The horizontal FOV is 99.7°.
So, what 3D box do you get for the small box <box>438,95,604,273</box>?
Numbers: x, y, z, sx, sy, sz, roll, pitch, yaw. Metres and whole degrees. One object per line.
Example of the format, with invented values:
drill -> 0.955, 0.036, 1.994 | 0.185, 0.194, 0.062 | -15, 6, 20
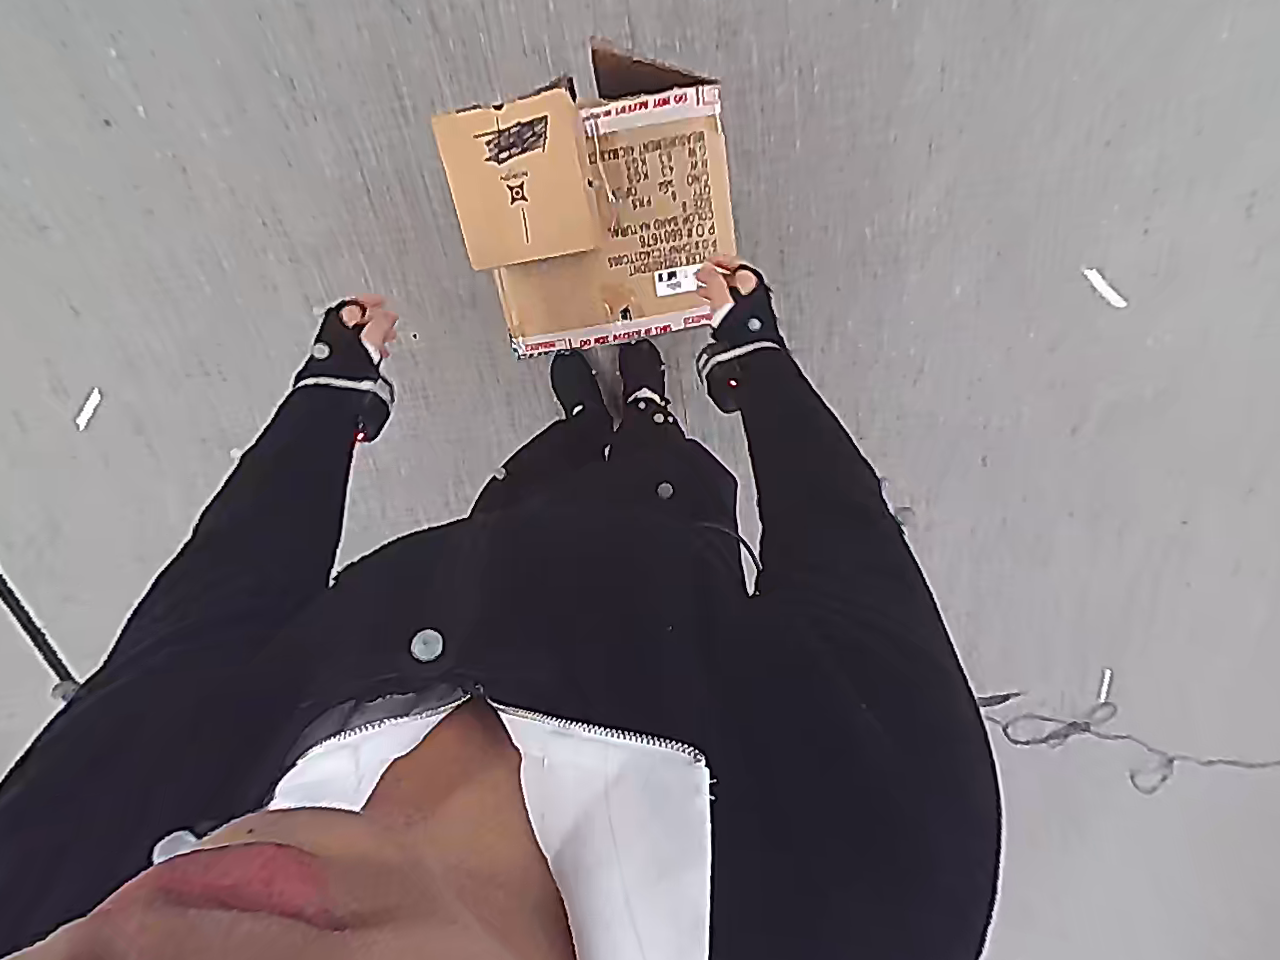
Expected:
small box -> -0.147, -0.391, 0.741 | 0.168, 0.176, 0.179 | -9, 114, 5
